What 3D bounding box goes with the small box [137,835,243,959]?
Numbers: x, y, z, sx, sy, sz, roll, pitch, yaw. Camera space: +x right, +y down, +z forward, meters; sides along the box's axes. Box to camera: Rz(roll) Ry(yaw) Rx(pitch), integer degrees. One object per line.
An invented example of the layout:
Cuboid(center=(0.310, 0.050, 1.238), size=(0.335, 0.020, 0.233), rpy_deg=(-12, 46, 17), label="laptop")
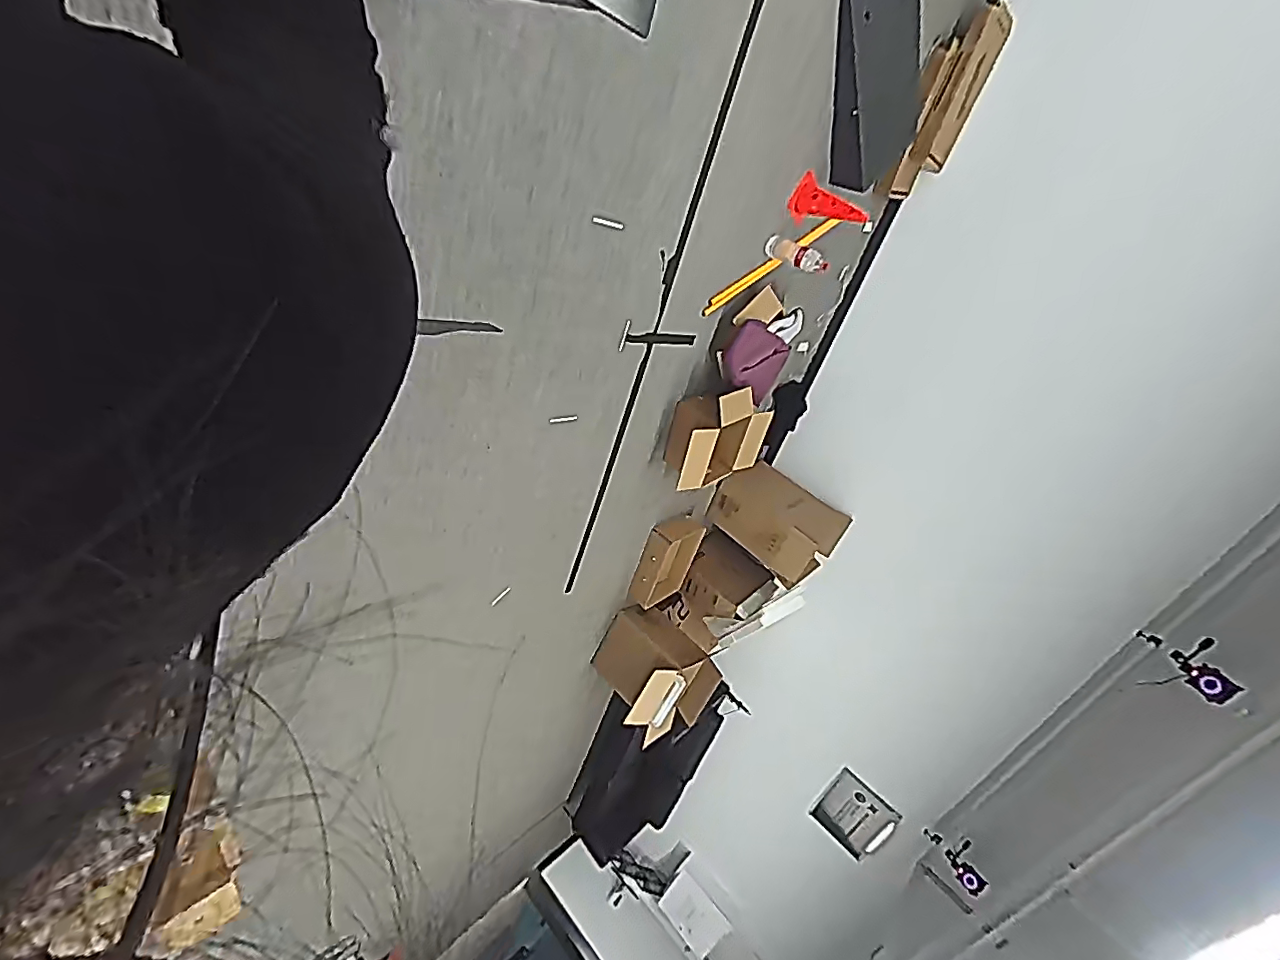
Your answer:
Cuboid(center=(-1.169, 1.080, 1.409), size=(0.168, 0.176, 0.179), rpy_deg=(-21, 134, -46), label="small box")
